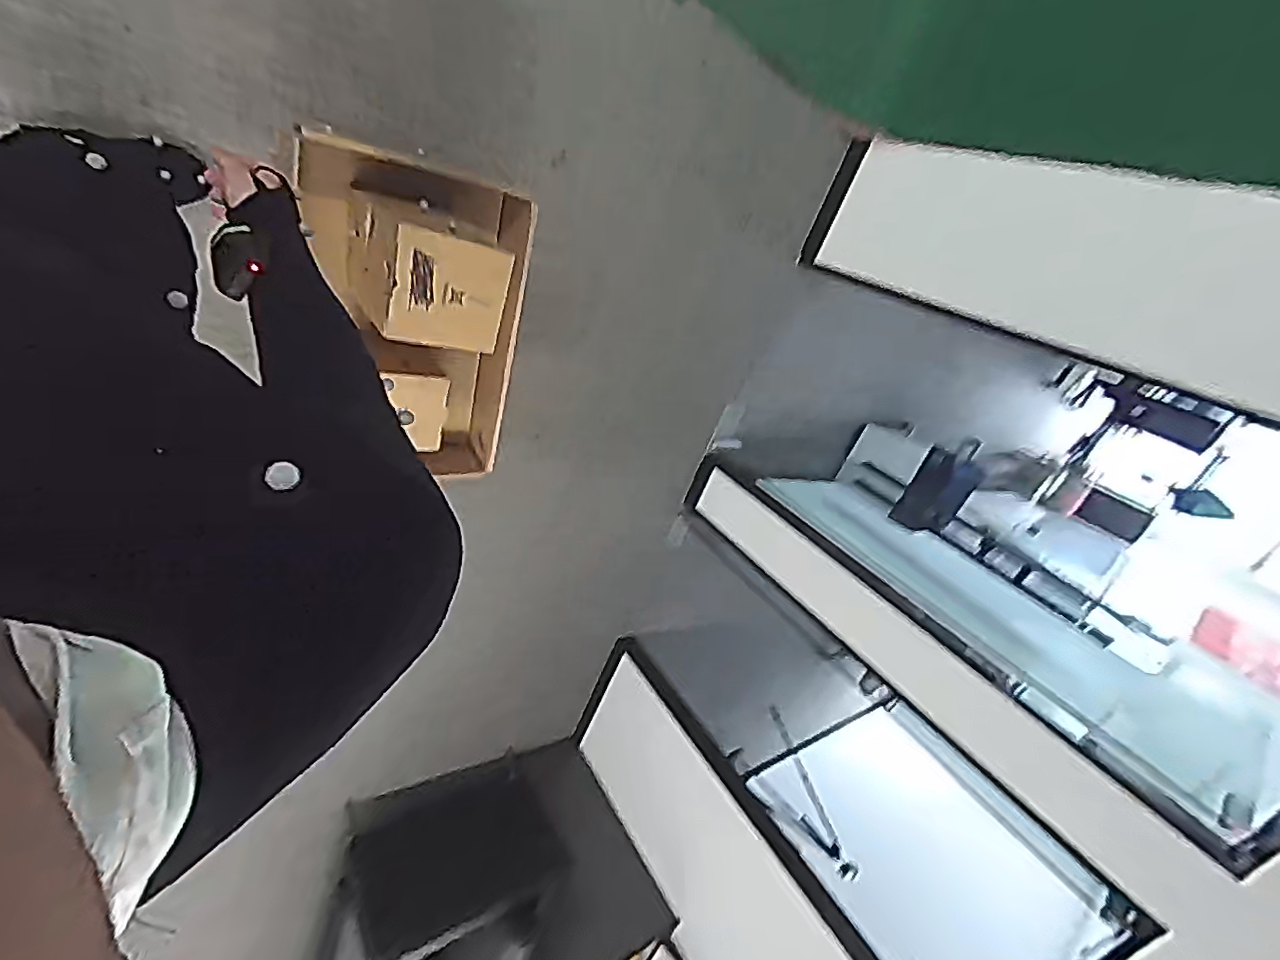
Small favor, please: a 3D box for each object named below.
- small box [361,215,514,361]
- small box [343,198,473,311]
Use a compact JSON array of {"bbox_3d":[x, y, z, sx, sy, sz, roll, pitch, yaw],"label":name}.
[{"bbox_3d":[-0.335,-0.311,0.876,0.179,0.176,0.168,-1,121,-42],"label":"small box"},{"bbox_3d":[-0.427,-0.397,0.981,0.179,0.176,0.168,-5,124,-39],"label":"small box"}]
